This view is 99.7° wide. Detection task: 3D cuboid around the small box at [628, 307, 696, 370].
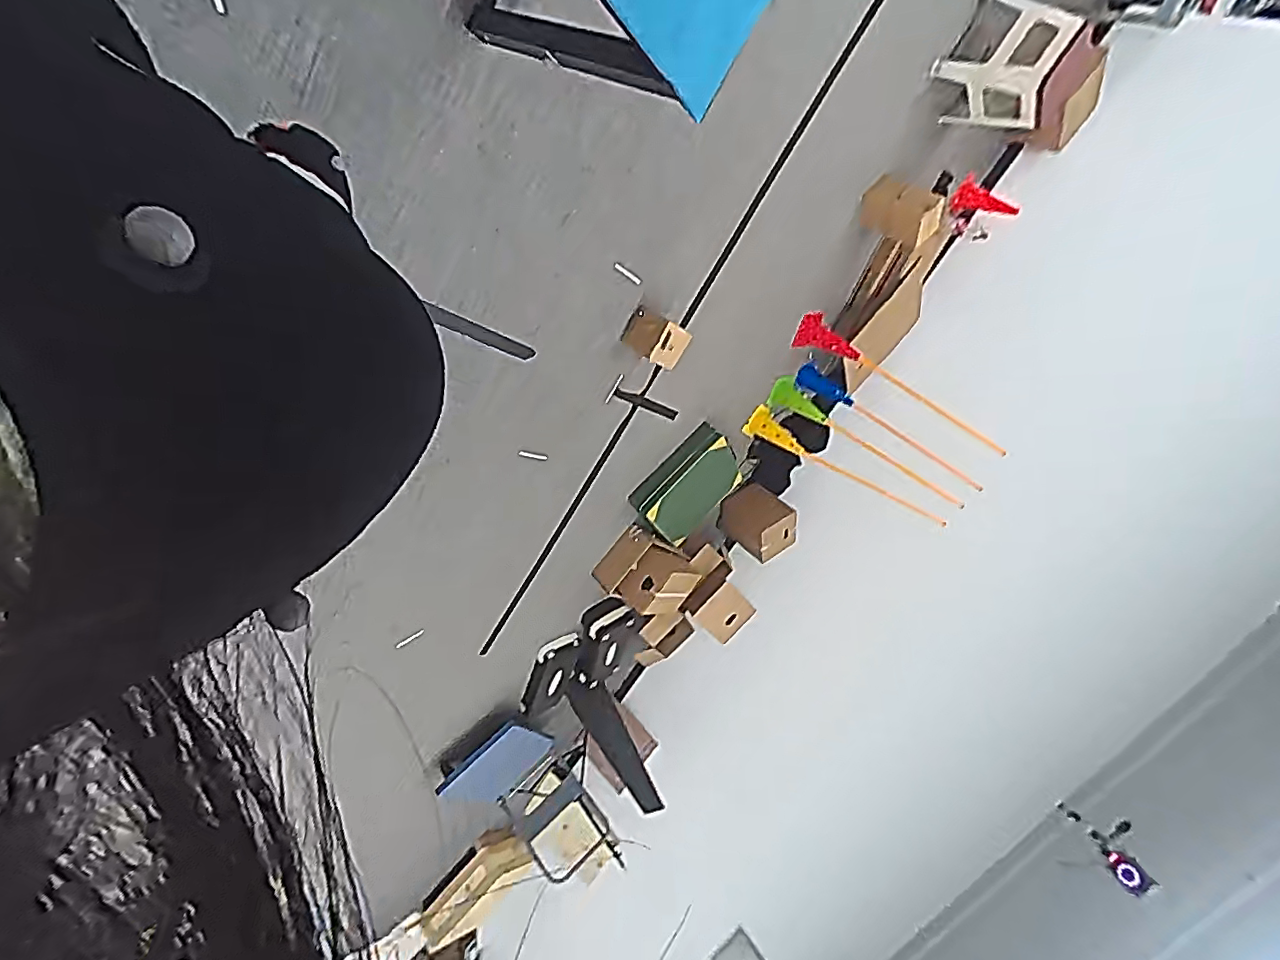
[{"bbox_3d":[0.082,-0.565,2.145,0.179,0.176,0.168,7,120,-55],"label":"small box"}]
